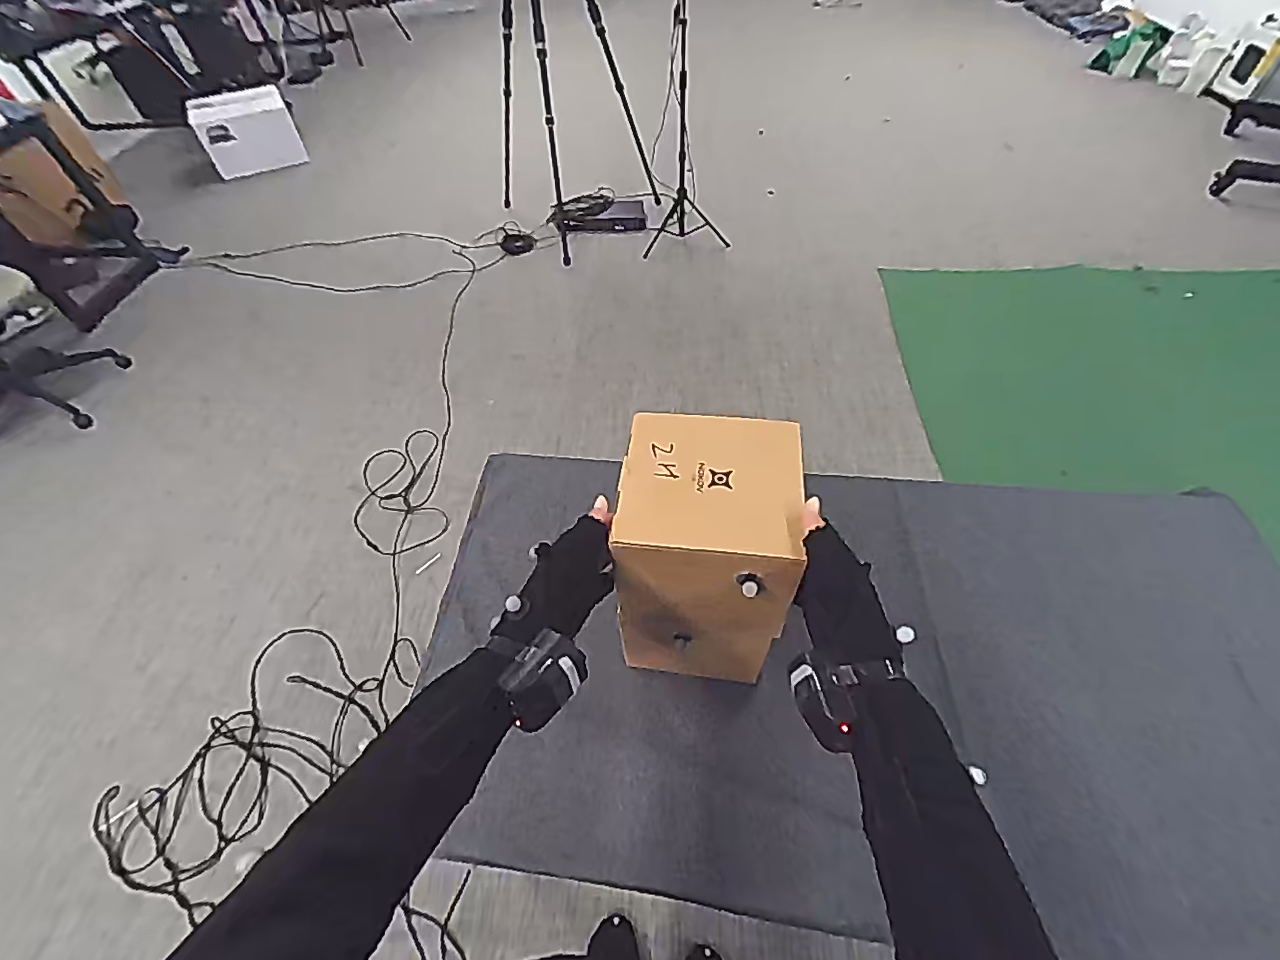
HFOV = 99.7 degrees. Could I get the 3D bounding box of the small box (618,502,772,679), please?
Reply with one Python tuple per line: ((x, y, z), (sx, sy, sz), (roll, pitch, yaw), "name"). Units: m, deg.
((0.075, 0.151, 0.723), (0.179, 0.176, 0.168), (6, 52, 7), "small box")
